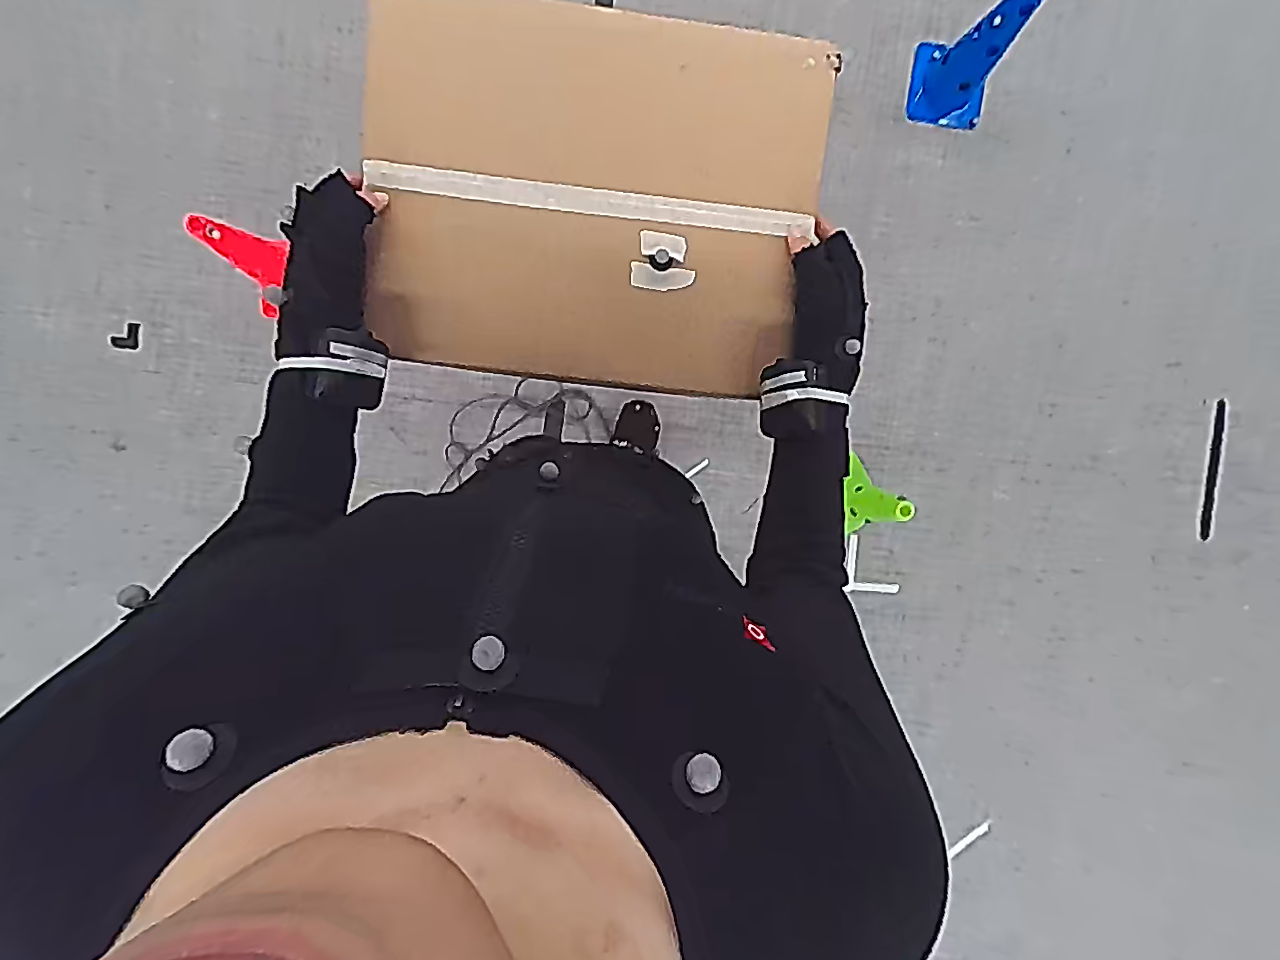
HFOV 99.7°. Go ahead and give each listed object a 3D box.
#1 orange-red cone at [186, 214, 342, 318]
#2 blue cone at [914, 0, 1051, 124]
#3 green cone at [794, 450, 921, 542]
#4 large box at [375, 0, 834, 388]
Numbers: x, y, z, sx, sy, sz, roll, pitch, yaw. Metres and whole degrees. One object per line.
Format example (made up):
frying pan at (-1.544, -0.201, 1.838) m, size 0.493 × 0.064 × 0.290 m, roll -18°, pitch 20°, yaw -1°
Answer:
orange-red cone at (-0.873, -0.513, 1.235) m, size 0.198 × 0.360 × 0.199 m, roll 4°, pitch 94°, yaw -1°
blue cone at (0.835, -1.043, 1.271) m, size 0.192 × 0.380 × 0.193 m, roll 10°, pitch 93°, yaw -3°
green cone at (0.554, 0.053, 1.304) m, size 0.202 × 0.368 × 0.200 m, roll -31°, pitch 94°, yaw -1°
large box at (-0.045, -0.283, 0.639) m, size 0.408 × 0.320 × 0.320 m, roll 6°, pitch 99°, yaw -4°
